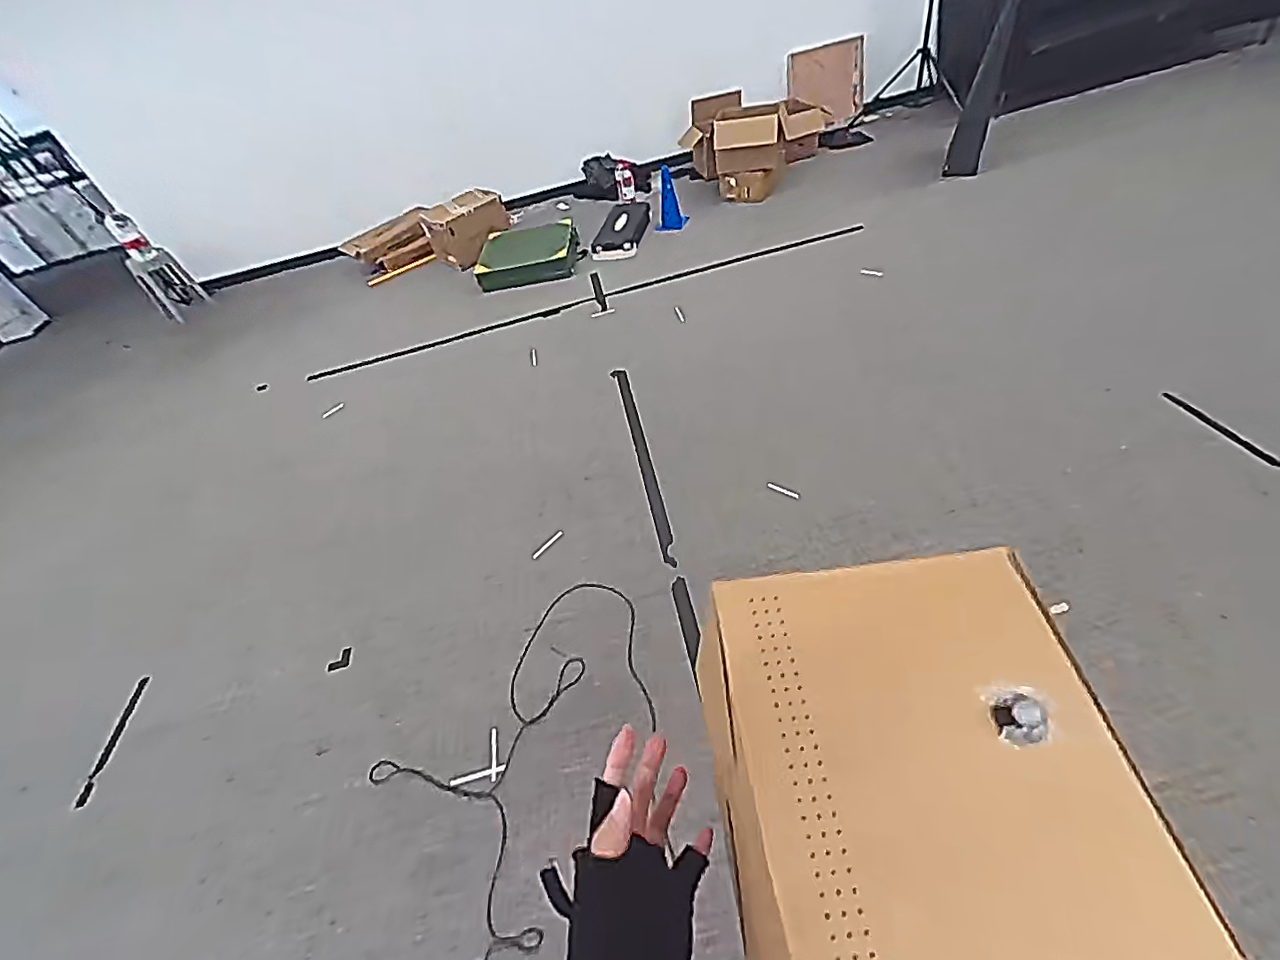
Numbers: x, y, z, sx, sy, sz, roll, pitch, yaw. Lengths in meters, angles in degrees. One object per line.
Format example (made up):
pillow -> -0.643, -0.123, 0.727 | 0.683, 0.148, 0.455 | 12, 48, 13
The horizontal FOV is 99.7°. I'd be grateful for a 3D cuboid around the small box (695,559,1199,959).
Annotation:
small box -> 0.126, 0.169, 0.316 | 0.176, 0.168, 0.179 | -7, 54, -2
